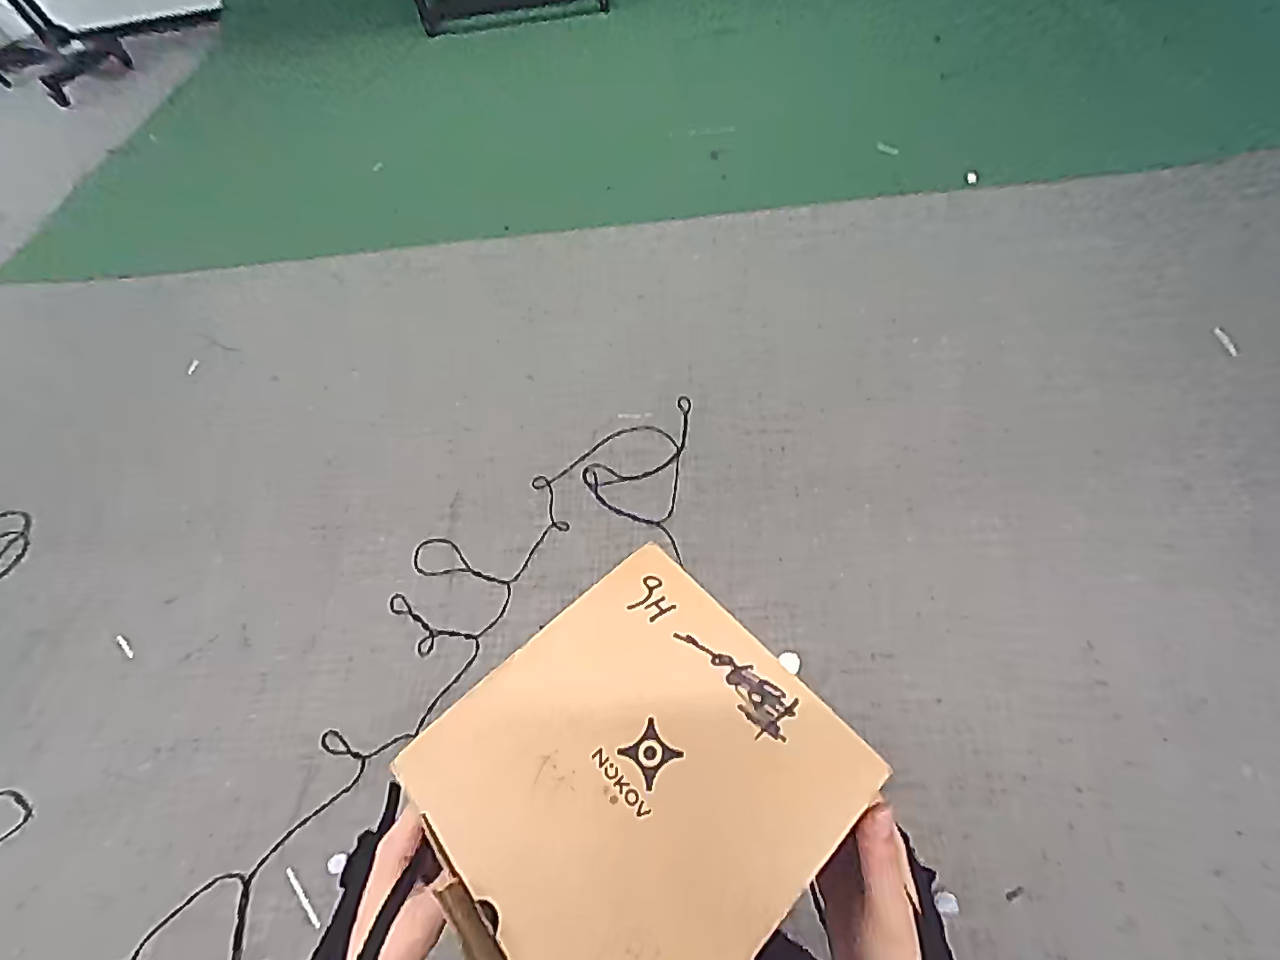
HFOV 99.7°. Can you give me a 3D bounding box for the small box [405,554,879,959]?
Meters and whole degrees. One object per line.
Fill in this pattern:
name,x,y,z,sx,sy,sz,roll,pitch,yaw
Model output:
small box,0.003,0.185,0.328,0.179,0.176,0.168,-38,63,-20
